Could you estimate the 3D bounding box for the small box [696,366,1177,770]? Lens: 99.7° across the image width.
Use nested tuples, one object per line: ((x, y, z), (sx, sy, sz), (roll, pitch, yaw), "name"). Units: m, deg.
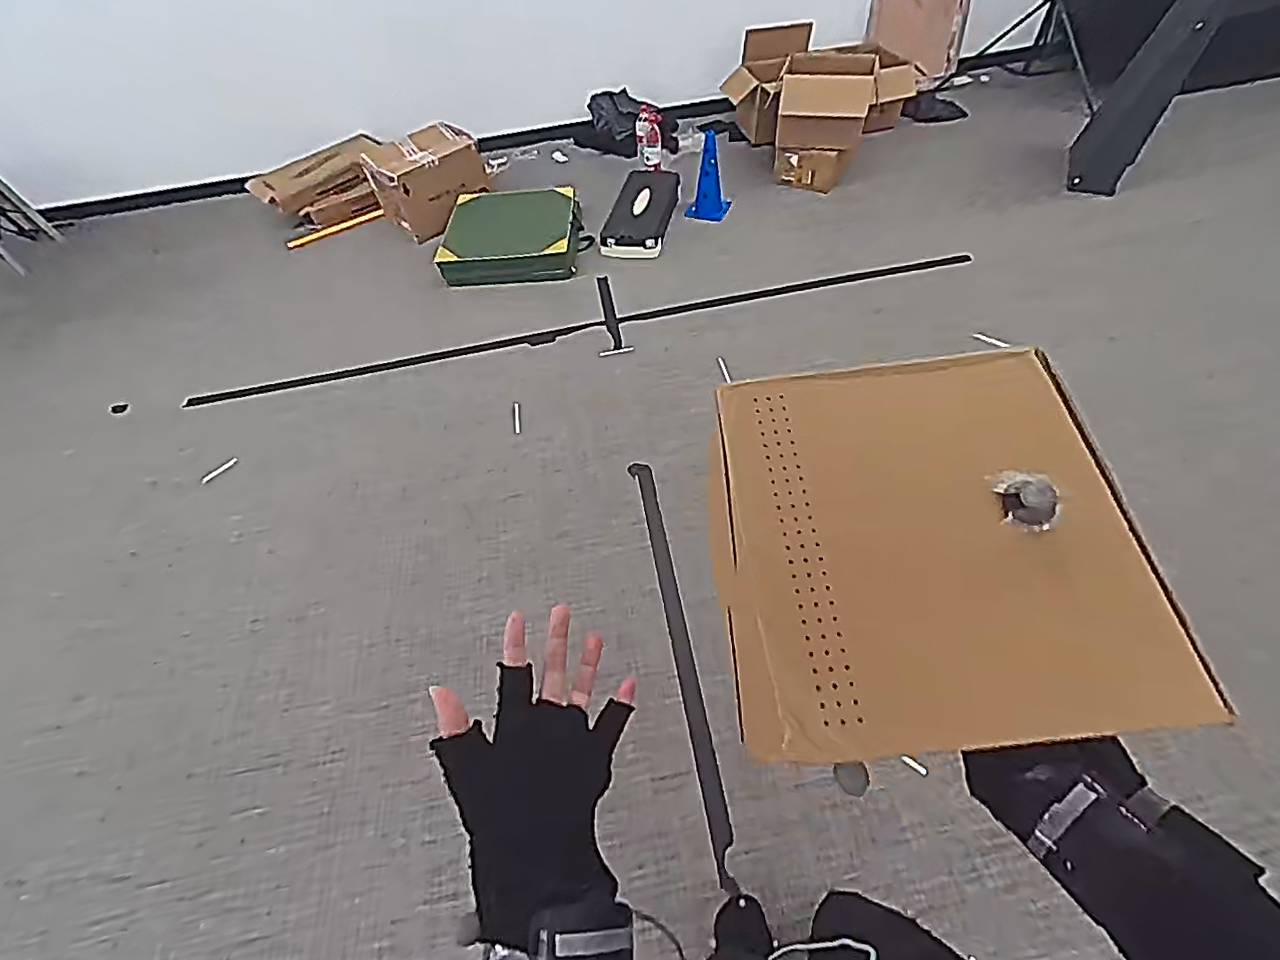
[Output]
((0.126, 0.060, 0.320), (0.176, 0.168, 0.179), (-8, 64, 2), "small box")
